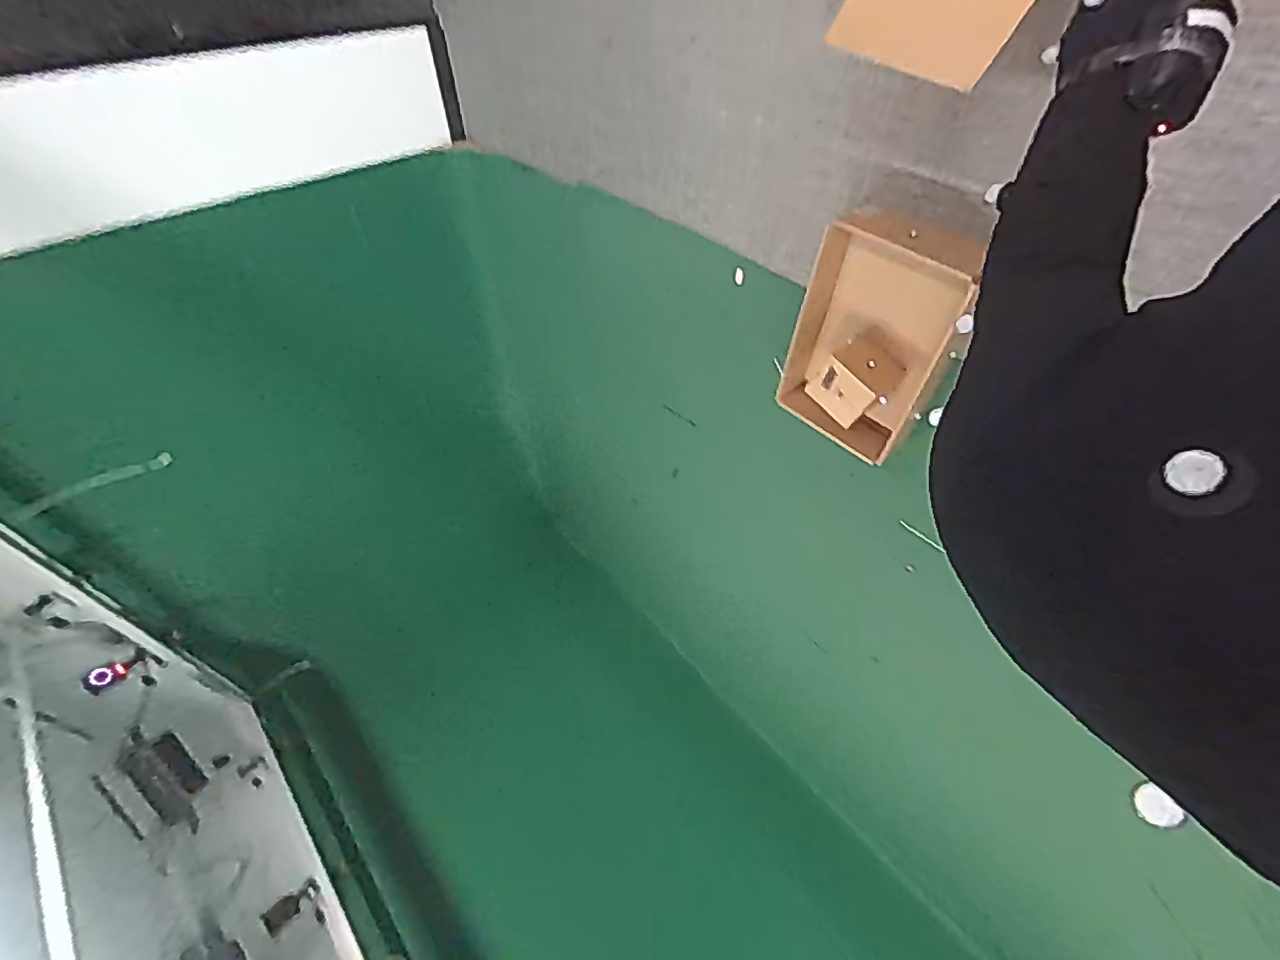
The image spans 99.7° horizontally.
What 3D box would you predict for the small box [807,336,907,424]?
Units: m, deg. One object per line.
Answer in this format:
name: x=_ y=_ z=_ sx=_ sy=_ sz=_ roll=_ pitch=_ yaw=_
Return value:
small box: x=0.643 y=-0.304 z=1.605 sx=0.179 sy=0.176 sz=0.168 roll=48 pitch=151 yaw=15
